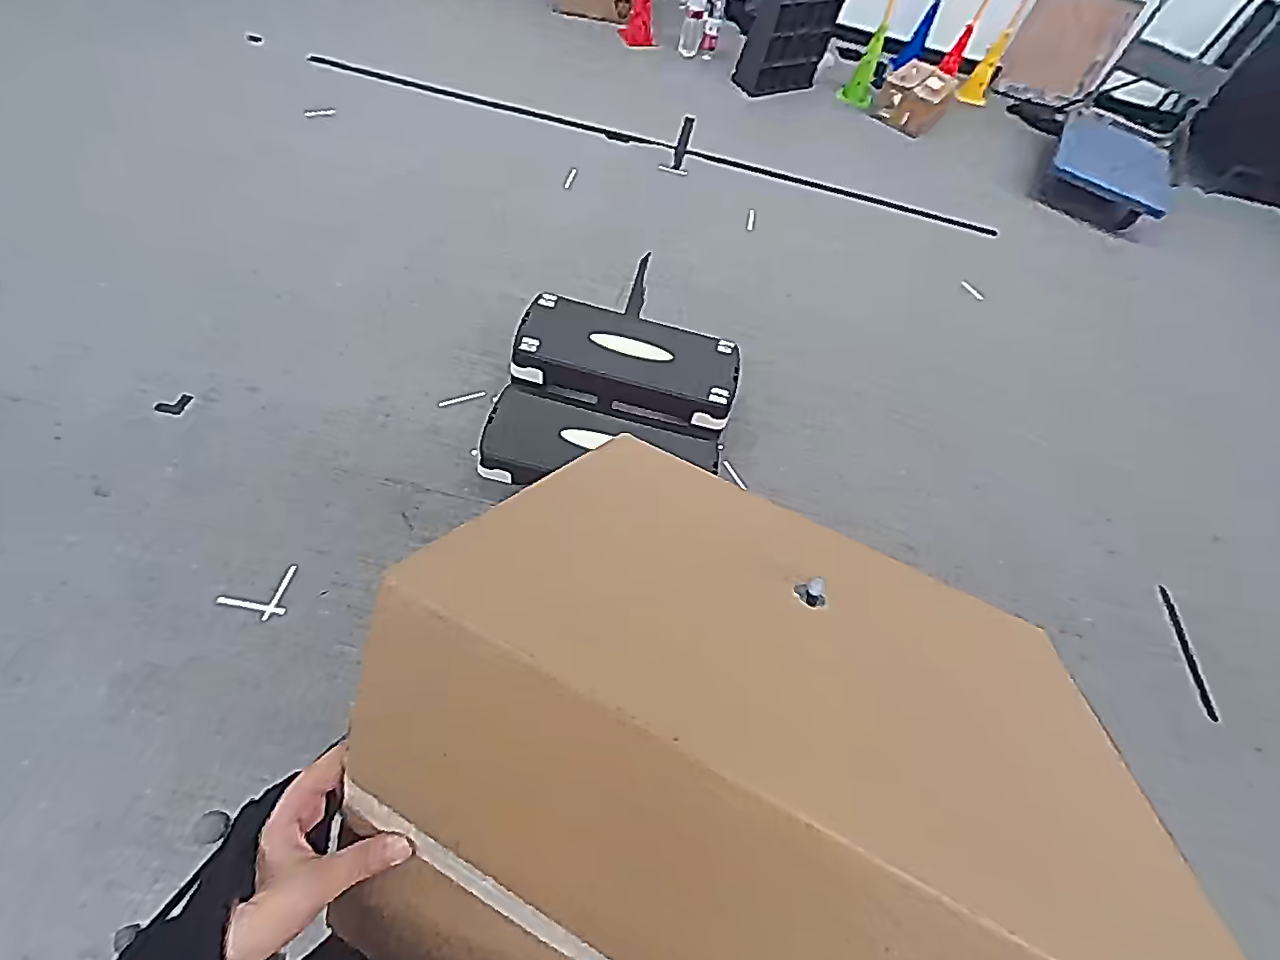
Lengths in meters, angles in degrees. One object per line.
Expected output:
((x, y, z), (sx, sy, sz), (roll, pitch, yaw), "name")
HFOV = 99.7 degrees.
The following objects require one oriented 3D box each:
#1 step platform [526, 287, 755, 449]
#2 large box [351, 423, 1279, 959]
((0.004, -0.349, 1.668), (0.684, 0.204, 0.286), (20, 58, 1), "step platform")
((0.074, 0.192, 0.404), (0.408, 0.320, 0.320), (25, 25, 11), "large box")
